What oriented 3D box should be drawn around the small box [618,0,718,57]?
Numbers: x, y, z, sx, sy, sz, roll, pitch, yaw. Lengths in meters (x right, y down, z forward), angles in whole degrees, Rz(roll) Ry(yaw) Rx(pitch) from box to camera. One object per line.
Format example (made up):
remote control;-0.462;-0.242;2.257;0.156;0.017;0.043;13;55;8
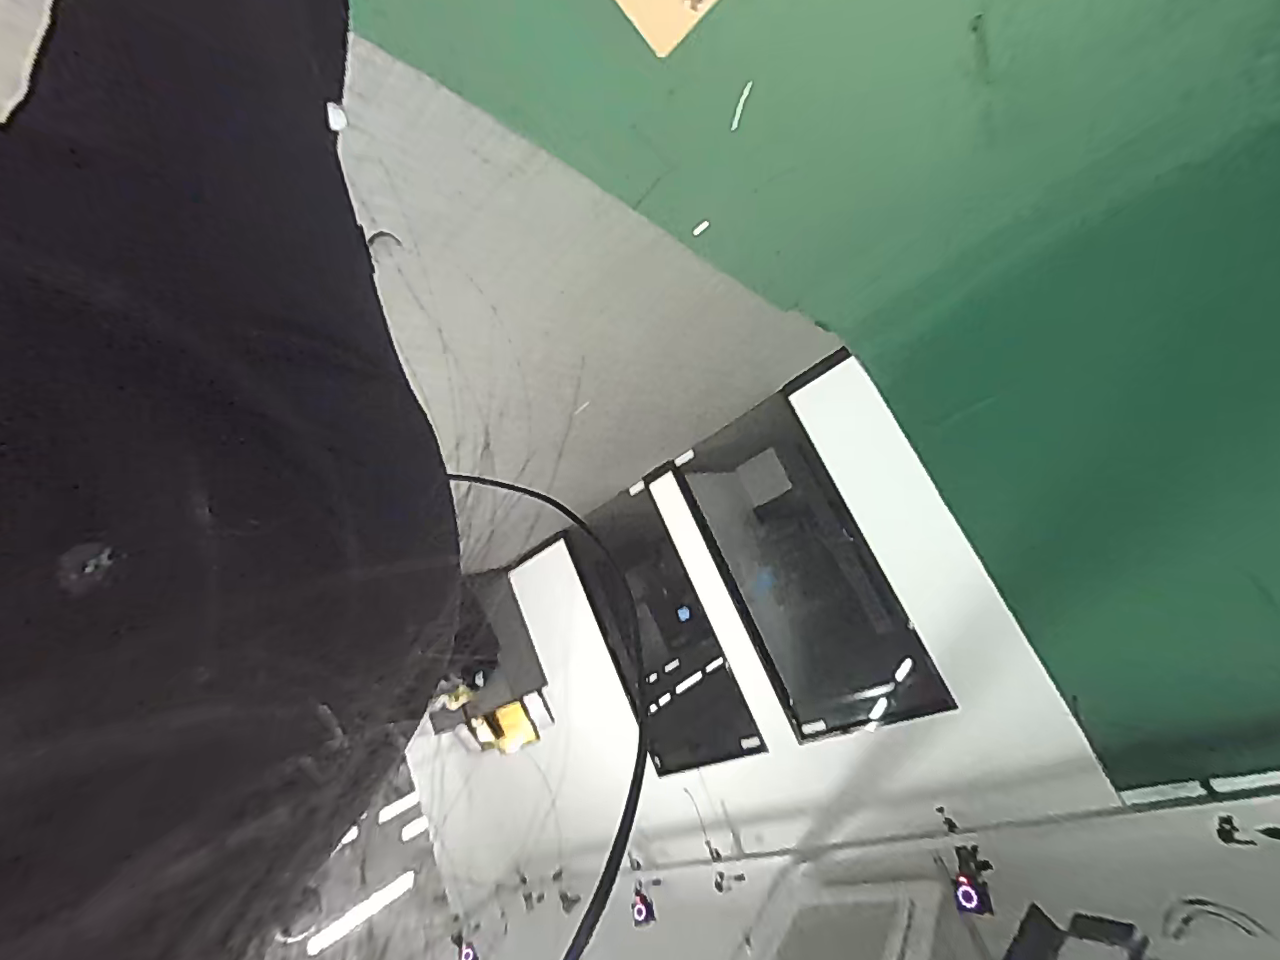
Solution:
small box;0.004;-0.526;0.446;0.168;0.176;0.179;-32;163;28
